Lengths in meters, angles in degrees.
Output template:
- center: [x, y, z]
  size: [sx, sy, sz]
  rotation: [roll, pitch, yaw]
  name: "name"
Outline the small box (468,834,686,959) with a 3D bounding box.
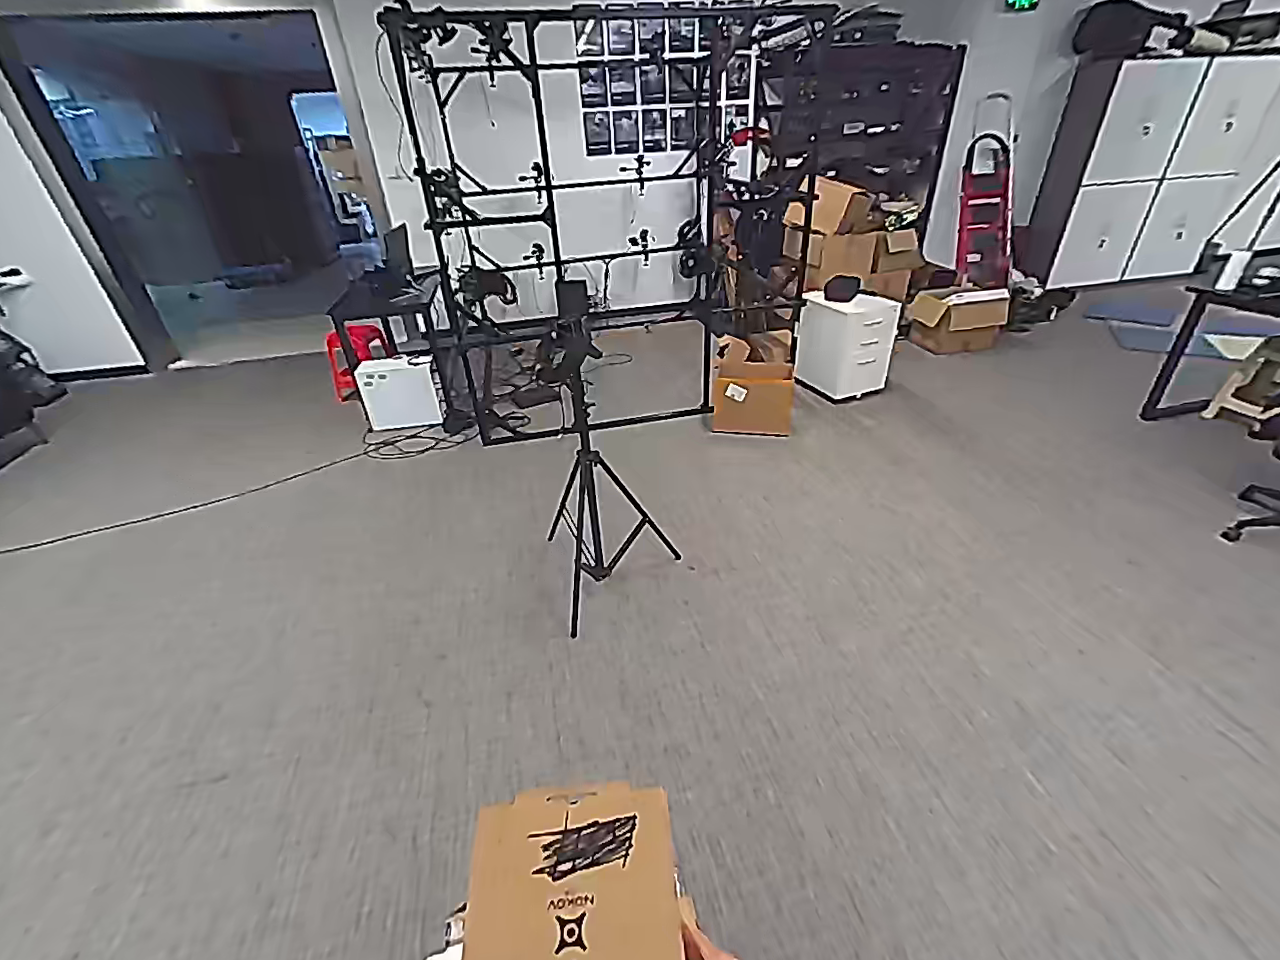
- center: [-0.046, 0.427, 0.447]
  size: [0.168, 0.176, 0.179]
  rotation: [-4, 41, -3]
  name: "small box"
